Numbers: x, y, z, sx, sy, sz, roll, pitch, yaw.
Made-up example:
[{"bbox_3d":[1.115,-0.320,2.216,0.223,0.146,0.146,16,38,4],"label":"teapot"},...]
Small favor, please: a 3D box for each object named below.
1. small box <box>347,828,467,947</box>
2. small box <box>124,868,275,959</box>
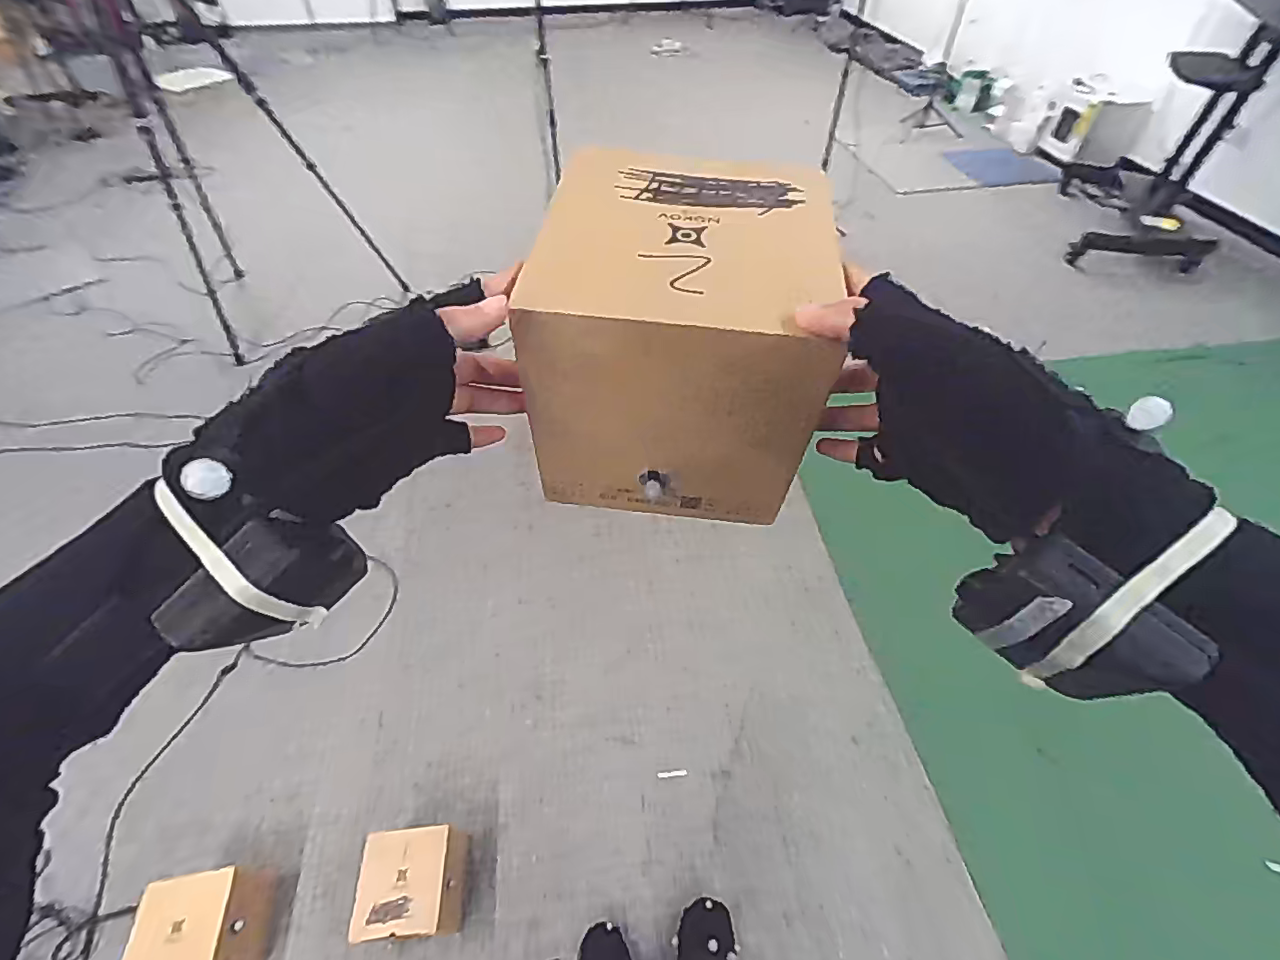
[{"bbox_3d":[-0.465,0.836,1.112,0.168,0.176,0.179,-4,49,-3],"label":"small box"},{"bbox_3d":[-0.861,0.896,1.068,0.168,0.176,0.179,-8,51,-6],"label":"small box"}]
